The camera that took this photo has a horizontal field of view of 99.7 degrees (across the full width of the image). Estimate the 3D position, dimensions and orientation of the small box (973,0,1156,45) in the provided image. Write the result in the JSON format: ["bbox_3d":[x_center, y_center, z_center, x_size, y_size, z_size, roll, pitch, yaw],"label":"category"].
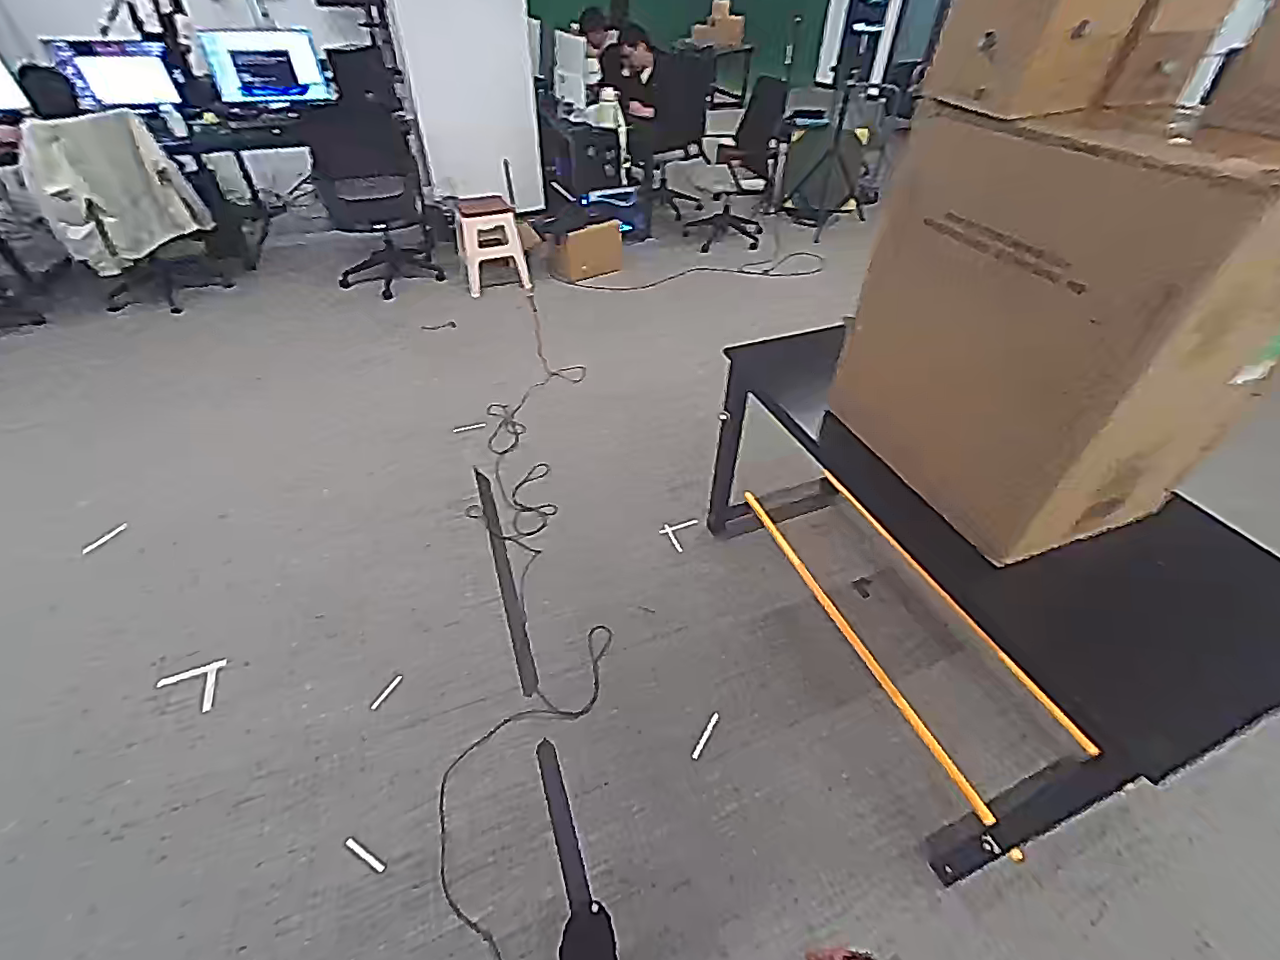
[{"bbox_3d":[0.569,-0.680,0.694,0.179,0.176,0.168,-20,51,-17],"label":"small box"}]

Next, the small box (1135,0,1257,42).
[{"bbox_3d":[0.757,-0.734,0.757,0.168,0.176,0.179,-13,47,-16],"label":"small box"}]
